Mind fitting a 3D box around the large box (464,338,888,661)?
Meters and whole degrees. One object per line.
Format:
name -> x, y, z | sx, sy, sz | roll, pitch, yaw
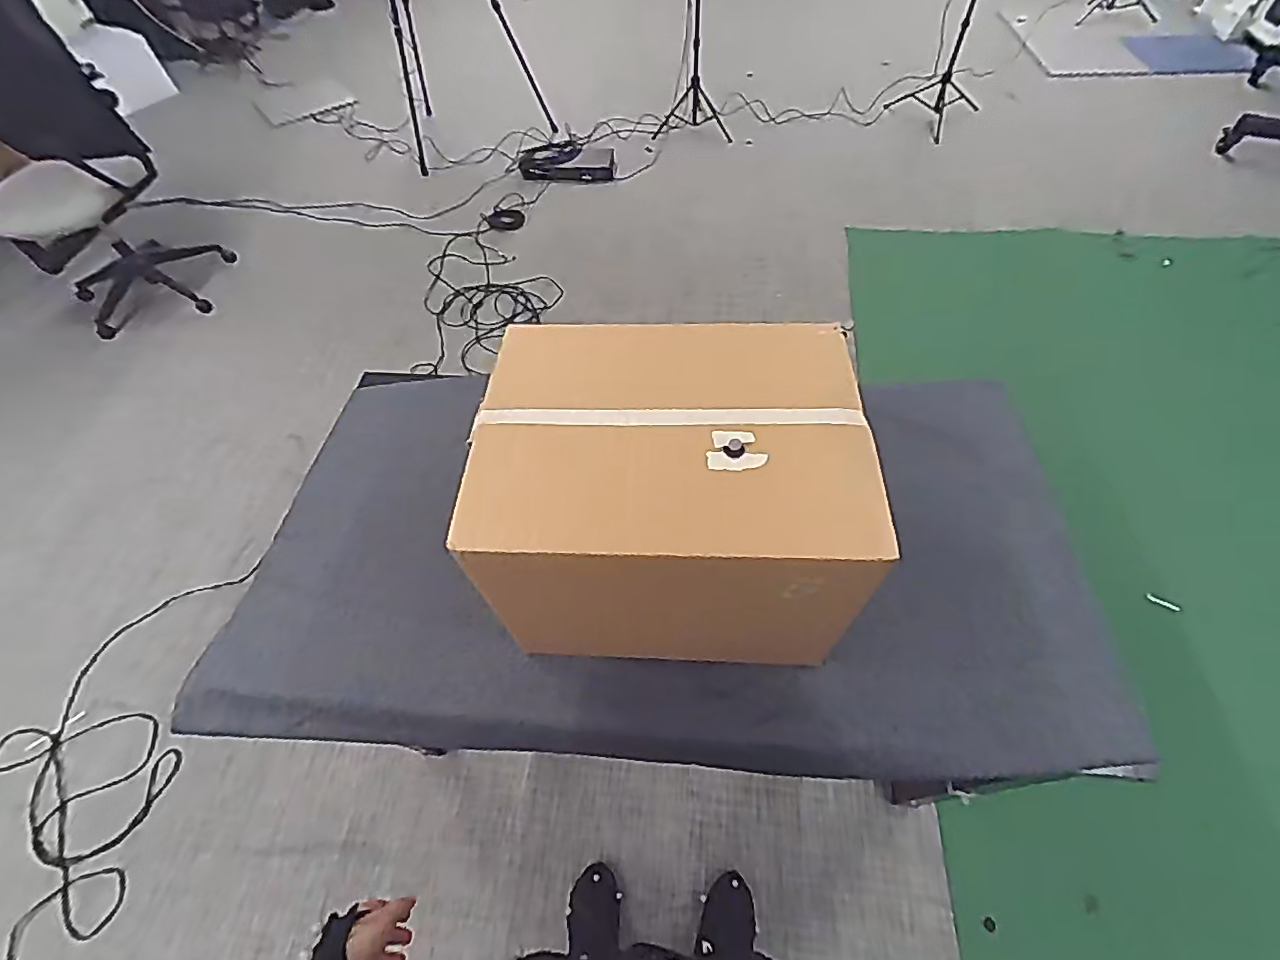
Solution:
large box -> 0.038, 0.036, 0.705 | 0.408, 0.320, 0.320 | 1, 56, 3
